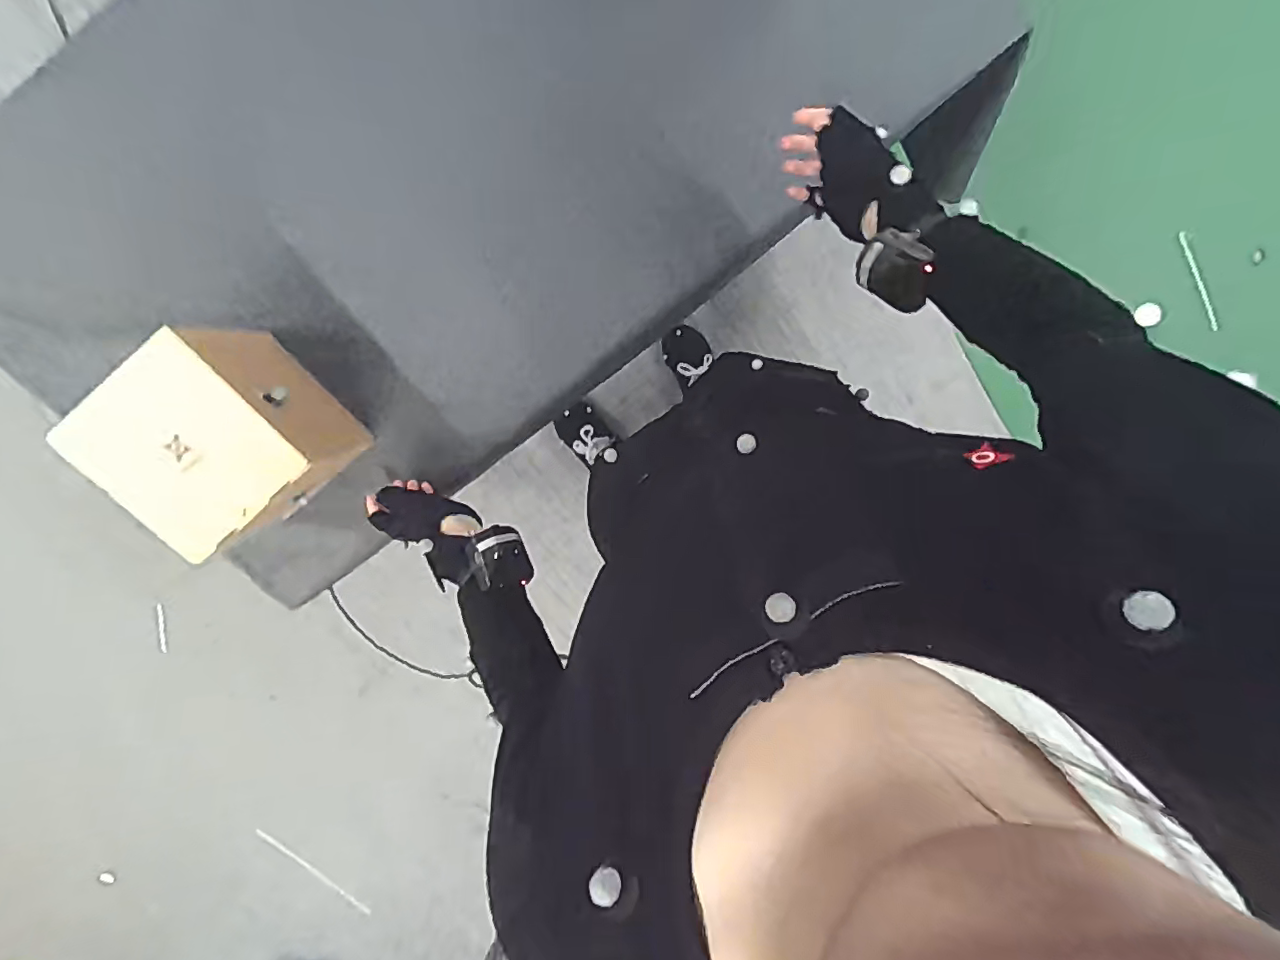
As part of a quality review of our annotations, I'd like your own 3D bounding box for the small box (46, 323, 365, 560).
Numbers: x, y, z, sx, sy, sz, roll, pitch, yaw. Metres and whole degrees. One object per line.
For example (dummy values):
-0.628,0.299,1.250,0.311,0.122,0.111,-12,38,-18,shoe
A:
-0.452,-0.048,0.599,0.168,0.176,0.179,-40,105,4,small box
